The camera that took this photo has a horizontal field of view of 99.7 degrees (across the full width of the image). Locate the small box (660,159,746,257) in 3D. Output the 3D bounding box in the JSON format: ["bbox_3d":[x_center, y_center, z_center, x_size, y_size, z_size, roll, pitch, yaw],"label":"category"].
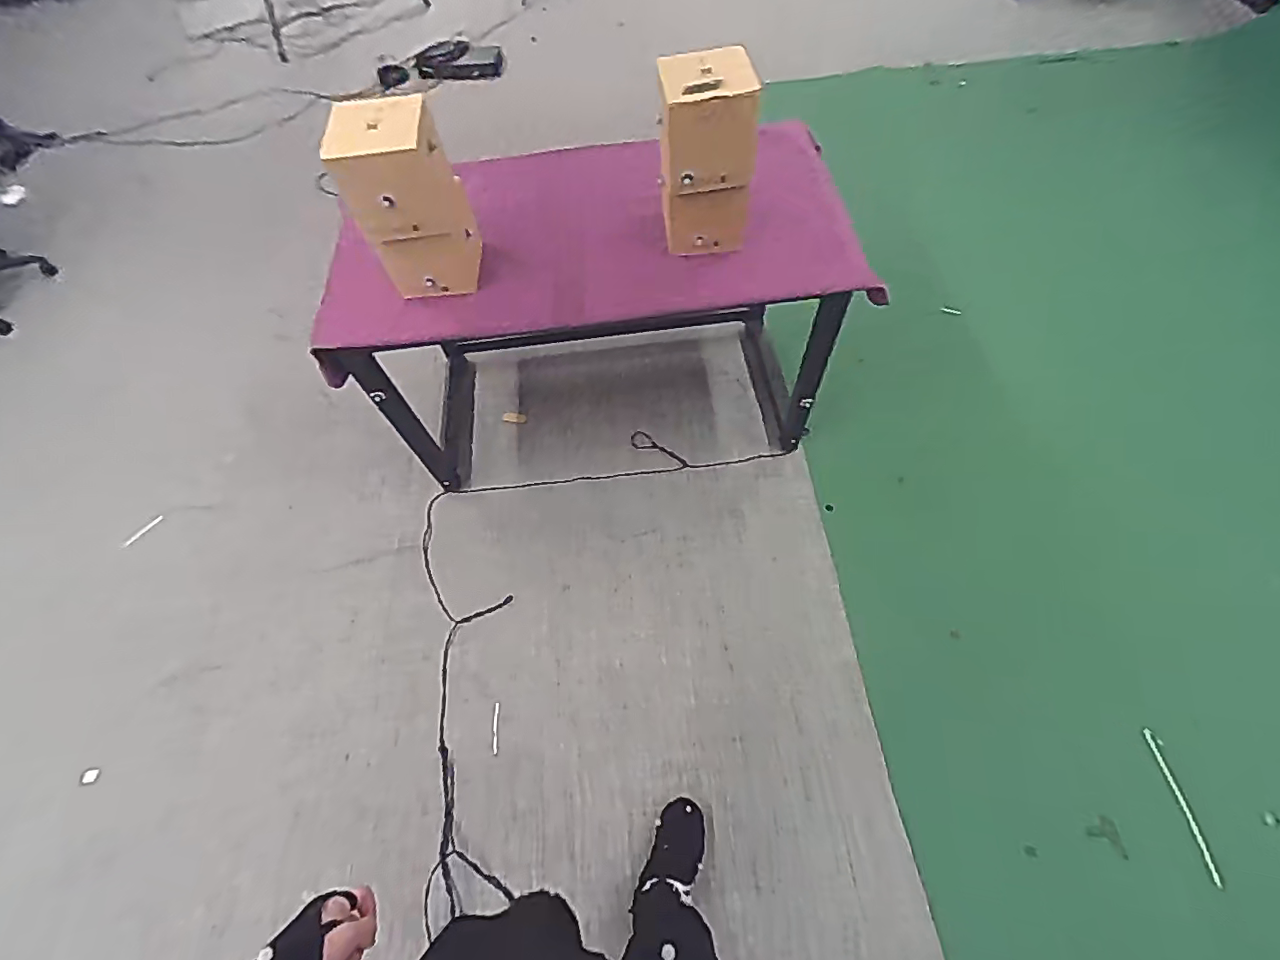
[{"bbox_3d":[0.131,-0.620,1.188,0.168,0.176,0.179,-6,61,3],"label":"small box"}]

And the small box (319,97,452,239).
[{"bbox_3d":[-0.466,-0.578,1.019,0.168,0.176,0.179,-7,62,0],"label":"small box"}]

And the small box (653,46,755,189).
[{"bbox_3d":[0.119,-0.682,1.036,0.168,0.176,0.179,-8,59,2],"label":"small box"}]
